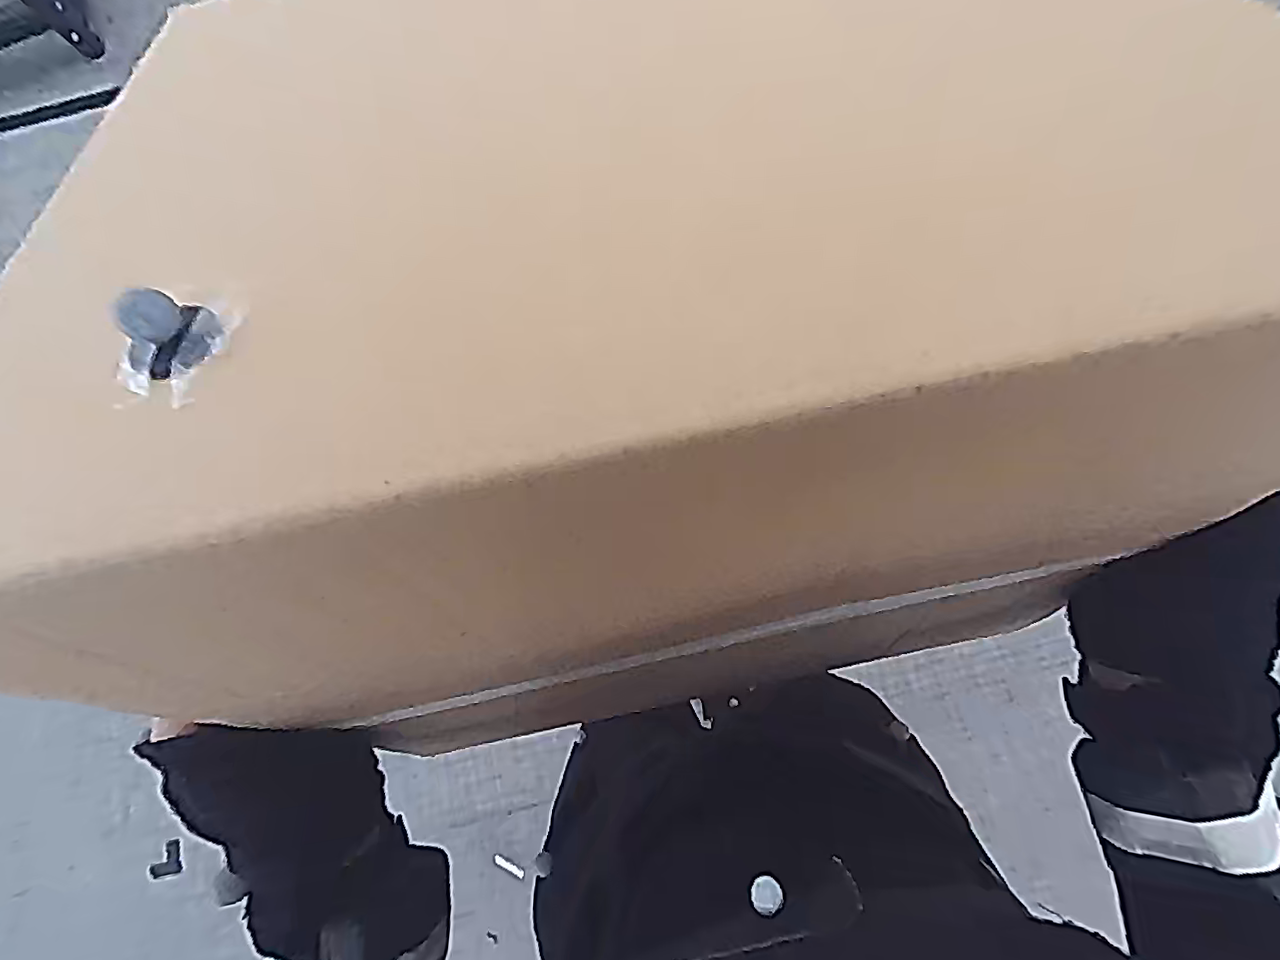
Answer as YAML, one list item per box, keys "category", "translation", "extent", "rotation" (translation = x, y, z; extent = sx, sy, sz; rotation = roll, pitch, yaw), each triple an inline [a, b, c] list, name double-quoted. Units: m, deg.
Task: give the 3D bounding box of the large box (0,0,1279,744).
- category: "large box"
  translation: [0.012, -0.062, 0.327]
  extent: [0.408, 0.320, 0.320]
  rotation: [-12, 59, -1]
